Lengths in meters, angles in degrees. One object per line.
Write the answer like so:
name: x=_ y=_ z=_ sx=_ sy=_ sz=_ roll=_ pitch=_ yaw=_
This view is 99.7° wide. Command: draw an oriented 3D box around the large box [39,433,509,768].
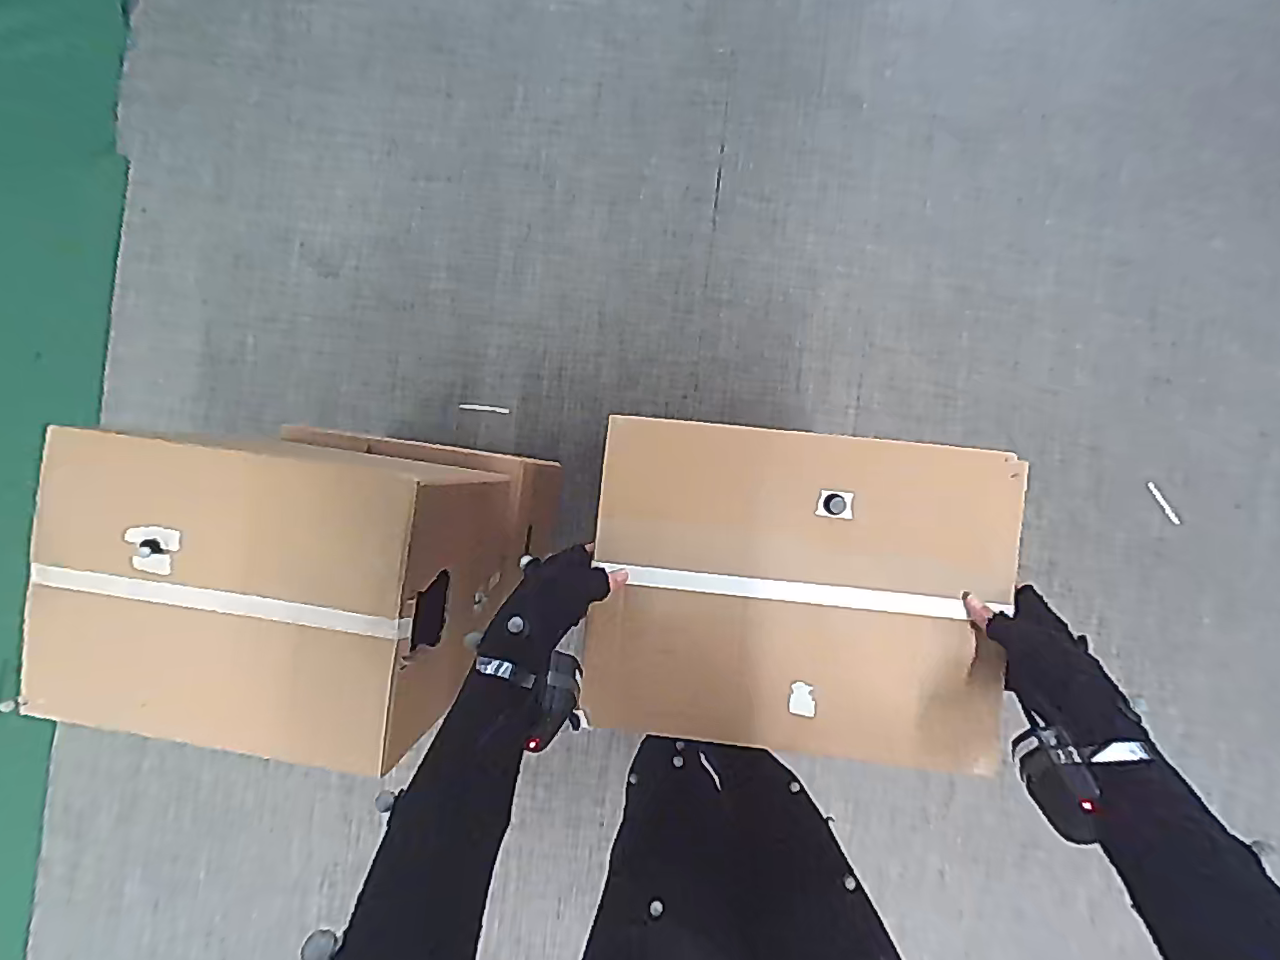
large box: x=-0.424 y=0.120 z=0.715 sx=0.408 sy=0.320 sz=0.320 roll=8 pitch=91 yaw=4
